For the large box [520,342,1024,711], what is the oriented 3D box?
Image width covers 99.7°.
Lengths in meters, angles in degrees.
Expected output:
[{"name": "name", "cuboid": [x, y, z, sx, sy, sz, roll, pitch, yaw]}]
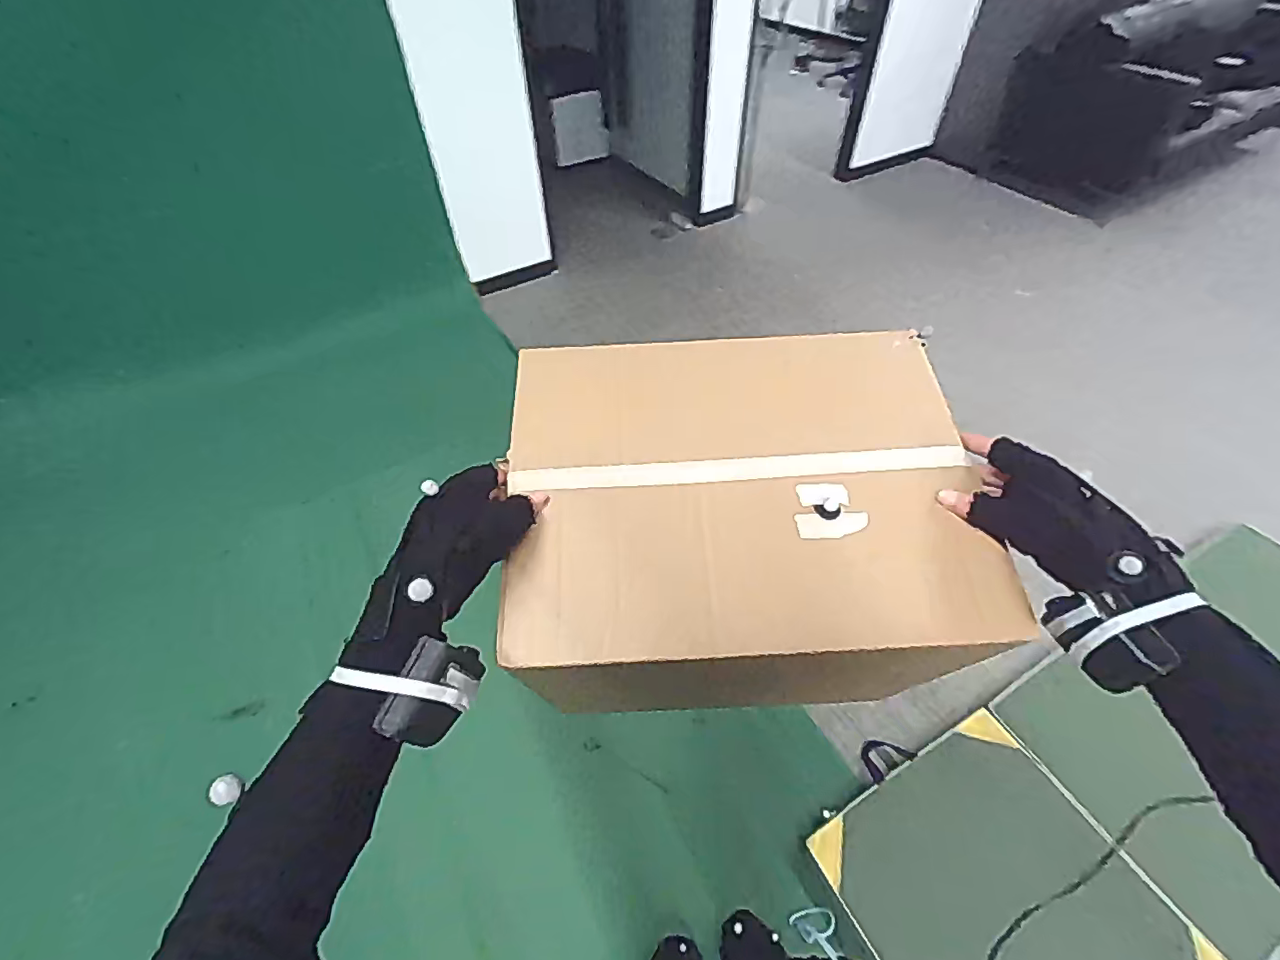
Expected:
[{"name": "large box", "cuboid": [0.095, 0.070, 0.618, 0.408, 0.320, 0.320, -2, 61, -1]}]
